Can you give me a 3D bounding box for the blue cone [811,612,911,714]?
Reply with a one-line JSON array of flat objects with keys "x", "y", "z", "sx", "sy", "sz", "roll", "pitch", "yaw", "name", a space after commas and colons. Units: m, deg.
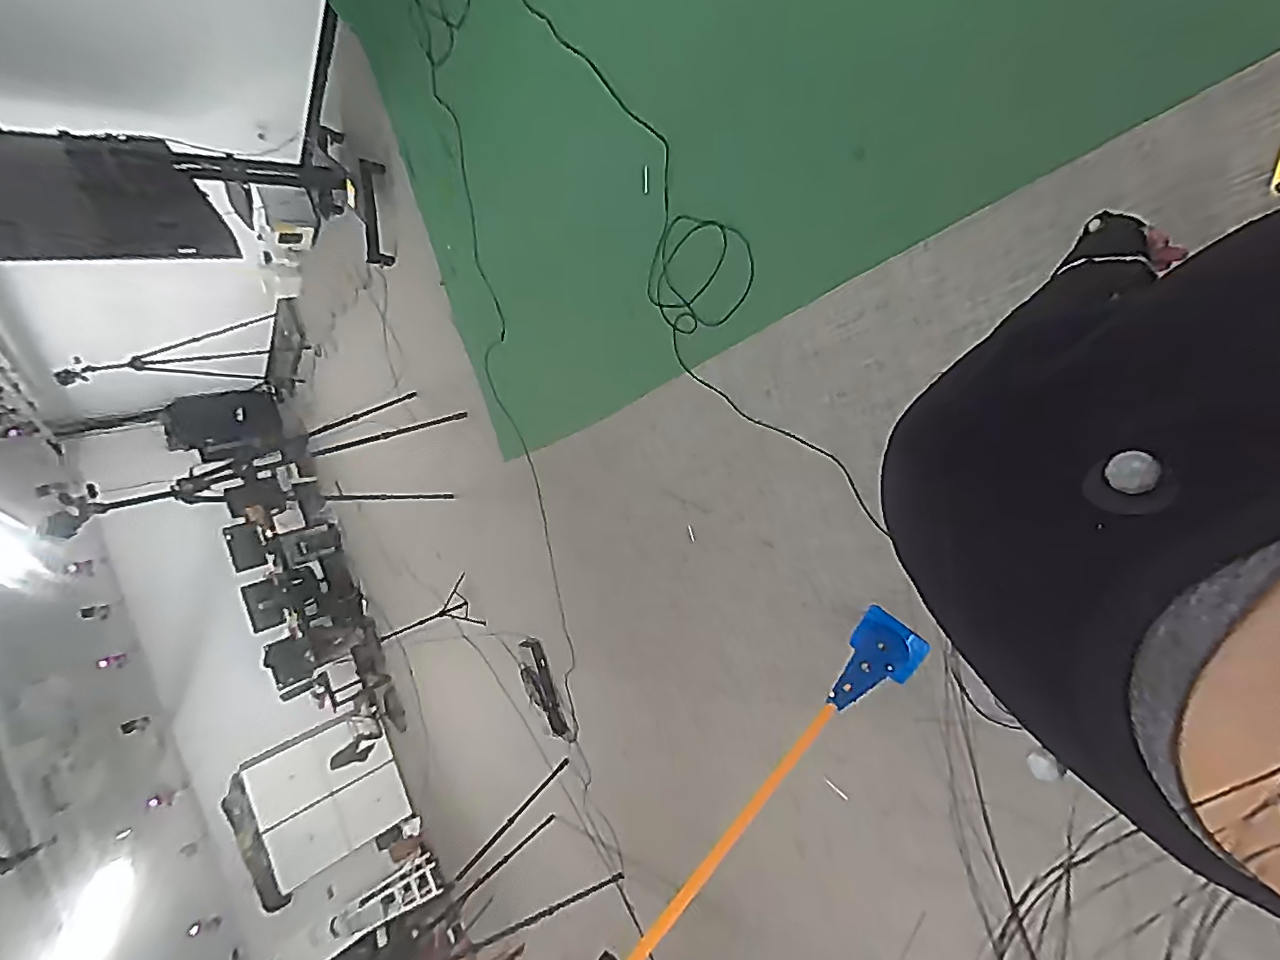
[{"x": 0.625, "y": 0.577, "z": 1.597, "sx": 0.192, "sy": 0.380, "sz": 0.193, "roll": 37, "pitch": 131, "yaw": 32, "name": "blue cone"}]
